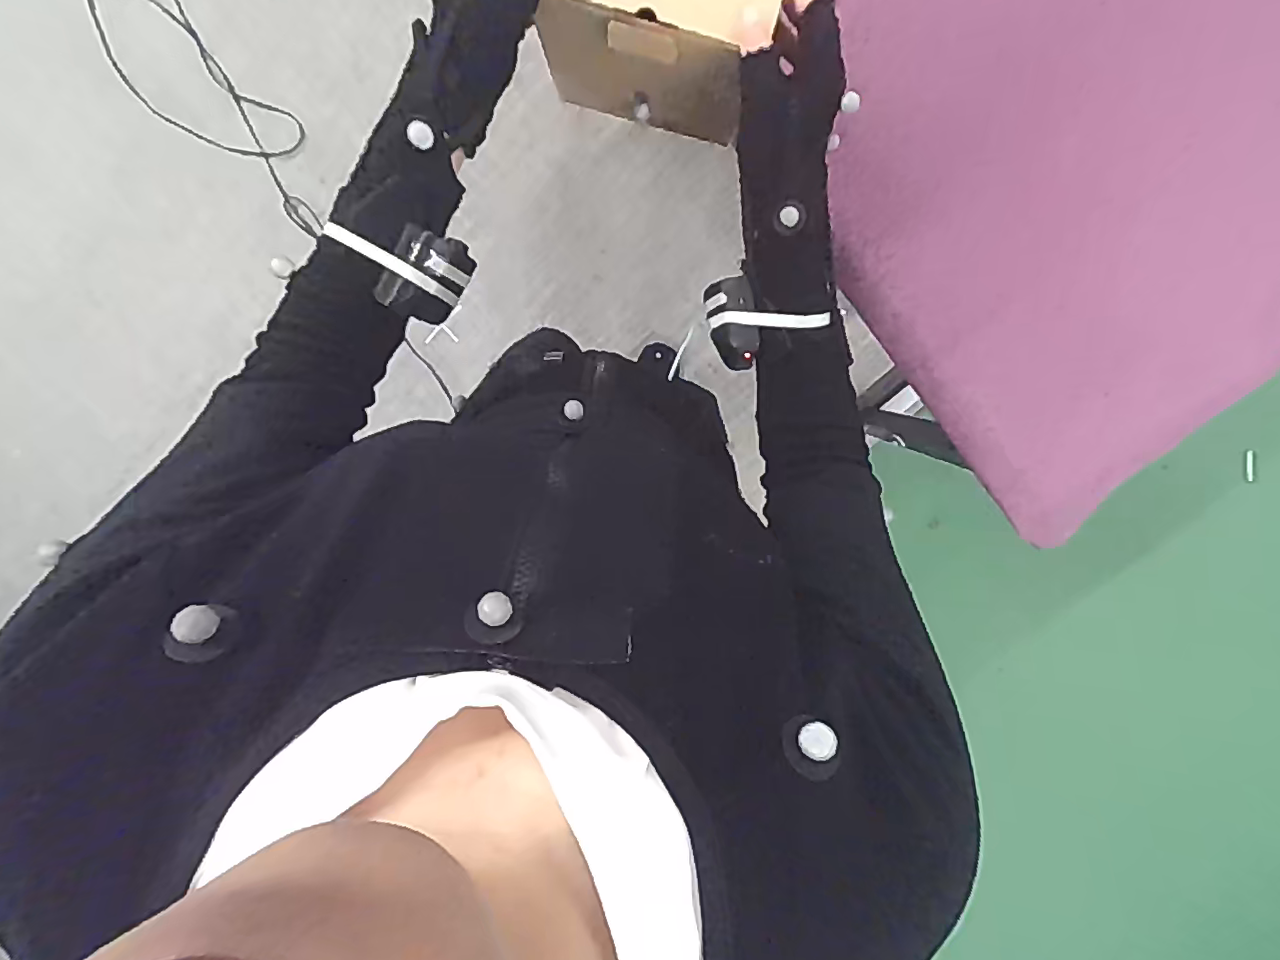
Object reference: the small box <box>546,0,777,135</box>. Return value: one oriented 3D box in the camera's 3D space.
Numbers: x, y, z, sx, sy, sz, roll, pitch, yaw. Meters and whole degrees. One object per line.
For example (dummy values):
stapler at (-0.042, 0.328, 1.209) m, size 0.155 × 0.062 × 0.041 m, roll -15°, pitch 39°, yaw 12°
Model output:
small box at (0.025, -0.405, 0.409) m, size 0.168 × 0.176 × 0.179 m, roll 15°, pitch 104°, yaw -3°
